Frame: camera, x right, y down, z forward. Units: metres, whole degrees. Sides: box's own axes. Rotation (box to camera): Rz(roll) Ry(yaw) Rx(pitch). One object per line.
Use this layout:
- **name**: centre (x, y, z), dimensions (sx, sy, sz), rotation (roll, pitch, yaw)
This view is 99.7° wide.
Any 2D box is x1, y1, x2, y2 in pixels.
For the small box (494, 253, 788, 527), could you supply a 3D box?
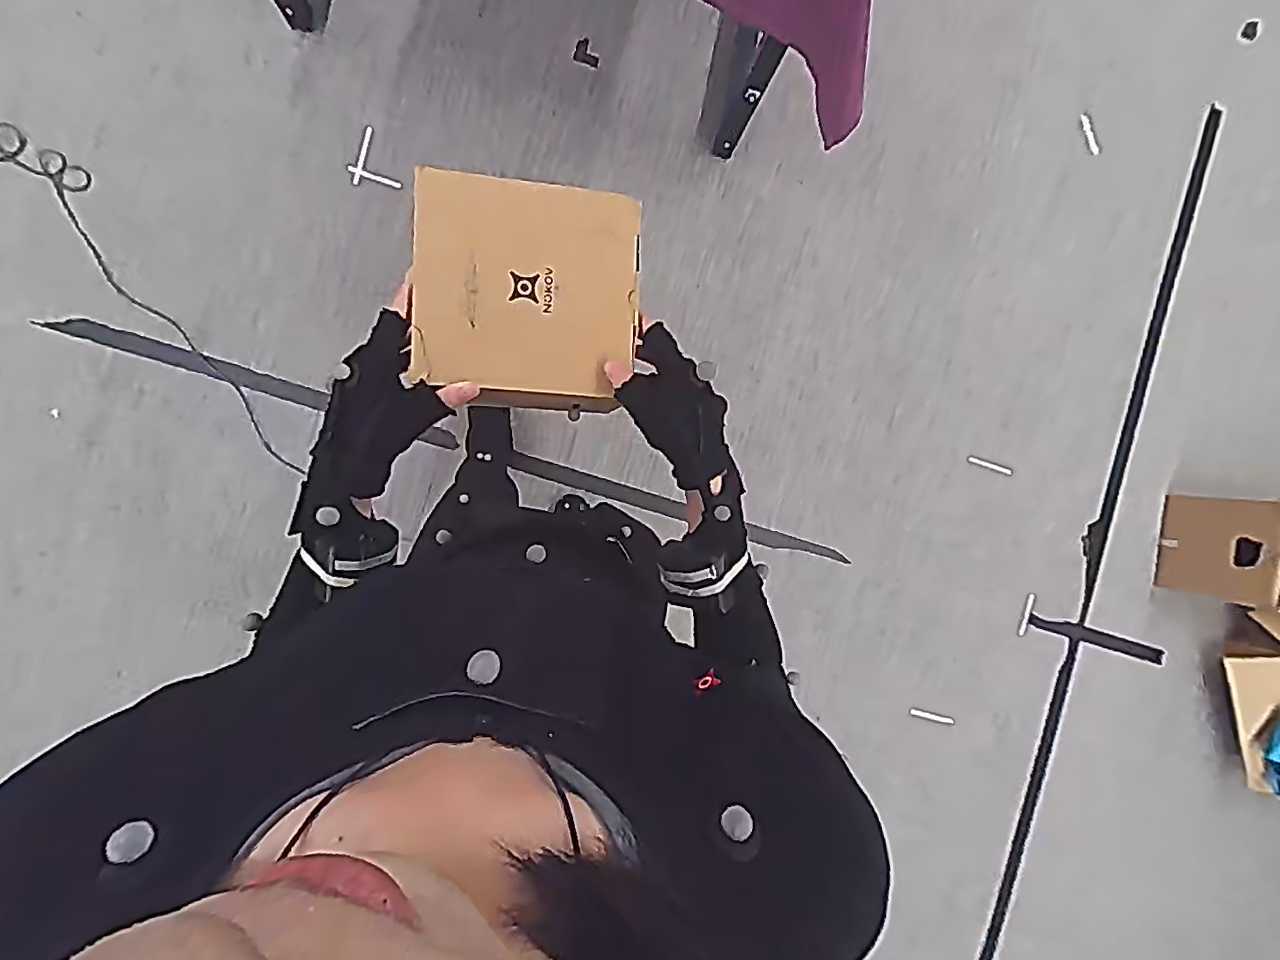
- **small box**: centre (0.010, -0.085, 0.495), dimensions (0.176, 0.168, 0.179), rotation (-36, 100, -50)
